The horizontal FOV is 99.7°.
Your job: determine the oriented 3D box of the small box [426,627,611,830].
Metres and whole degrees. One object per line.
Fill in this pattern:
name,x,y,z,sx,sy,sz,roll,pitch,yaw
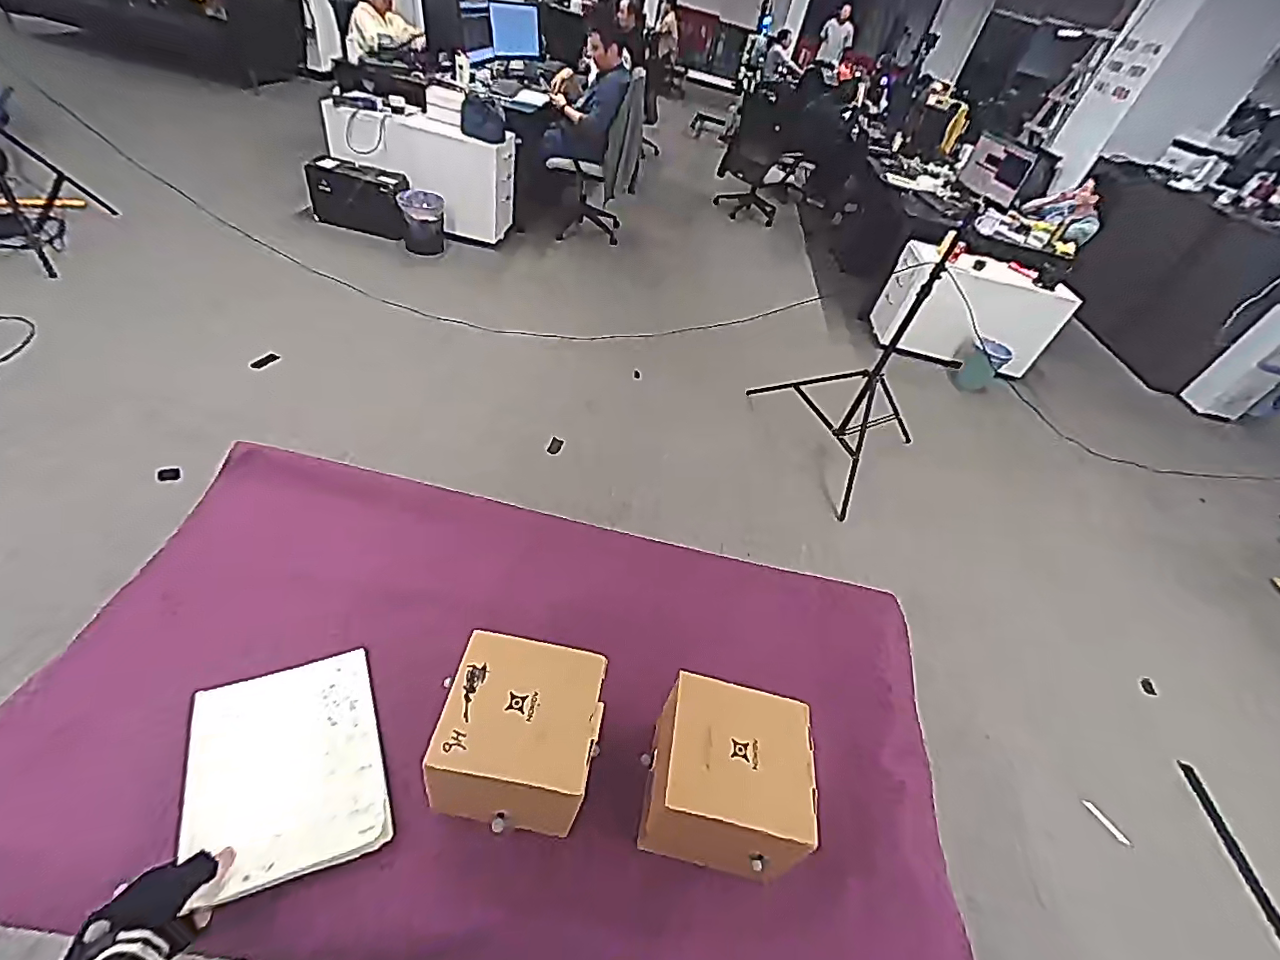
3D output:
small box,-0.147,0.315,0.678,0.179,0.176,0.168,13,42,-3

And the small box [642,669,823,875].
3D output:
small box,0.112,0.375,0.690,0.179,0.176,0.168,14,40,1
